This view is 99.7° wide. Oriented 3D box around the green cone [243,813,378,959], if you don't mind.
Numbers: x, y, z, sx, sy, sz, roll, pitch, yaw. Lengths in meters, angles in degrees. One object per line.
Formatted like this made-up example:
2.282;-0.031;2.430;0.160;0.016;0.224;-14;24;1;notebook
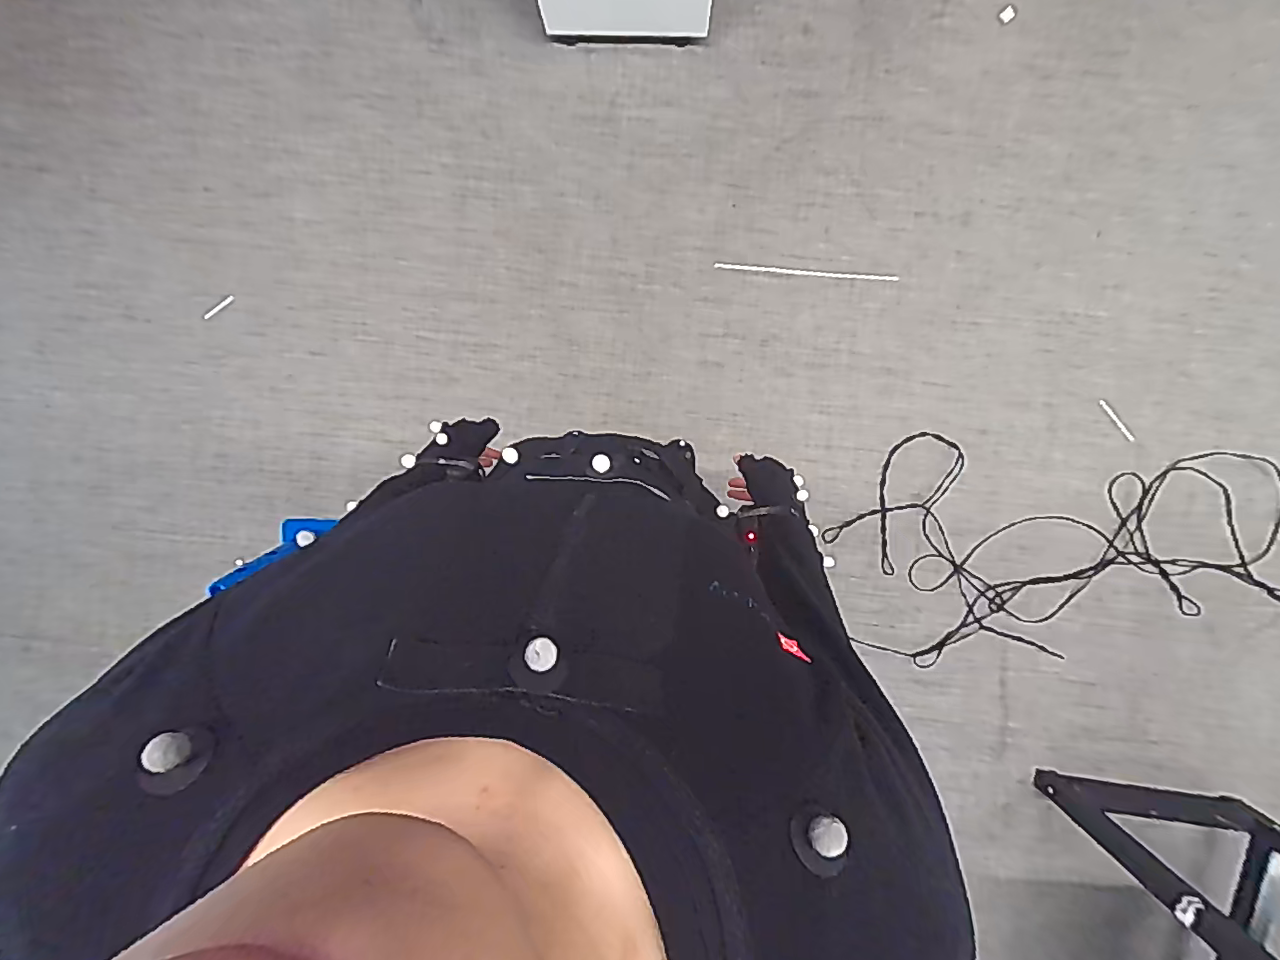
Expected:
-0.868;1.082;1.394;0.200;0.368;0.202;8;94;1;green cone
